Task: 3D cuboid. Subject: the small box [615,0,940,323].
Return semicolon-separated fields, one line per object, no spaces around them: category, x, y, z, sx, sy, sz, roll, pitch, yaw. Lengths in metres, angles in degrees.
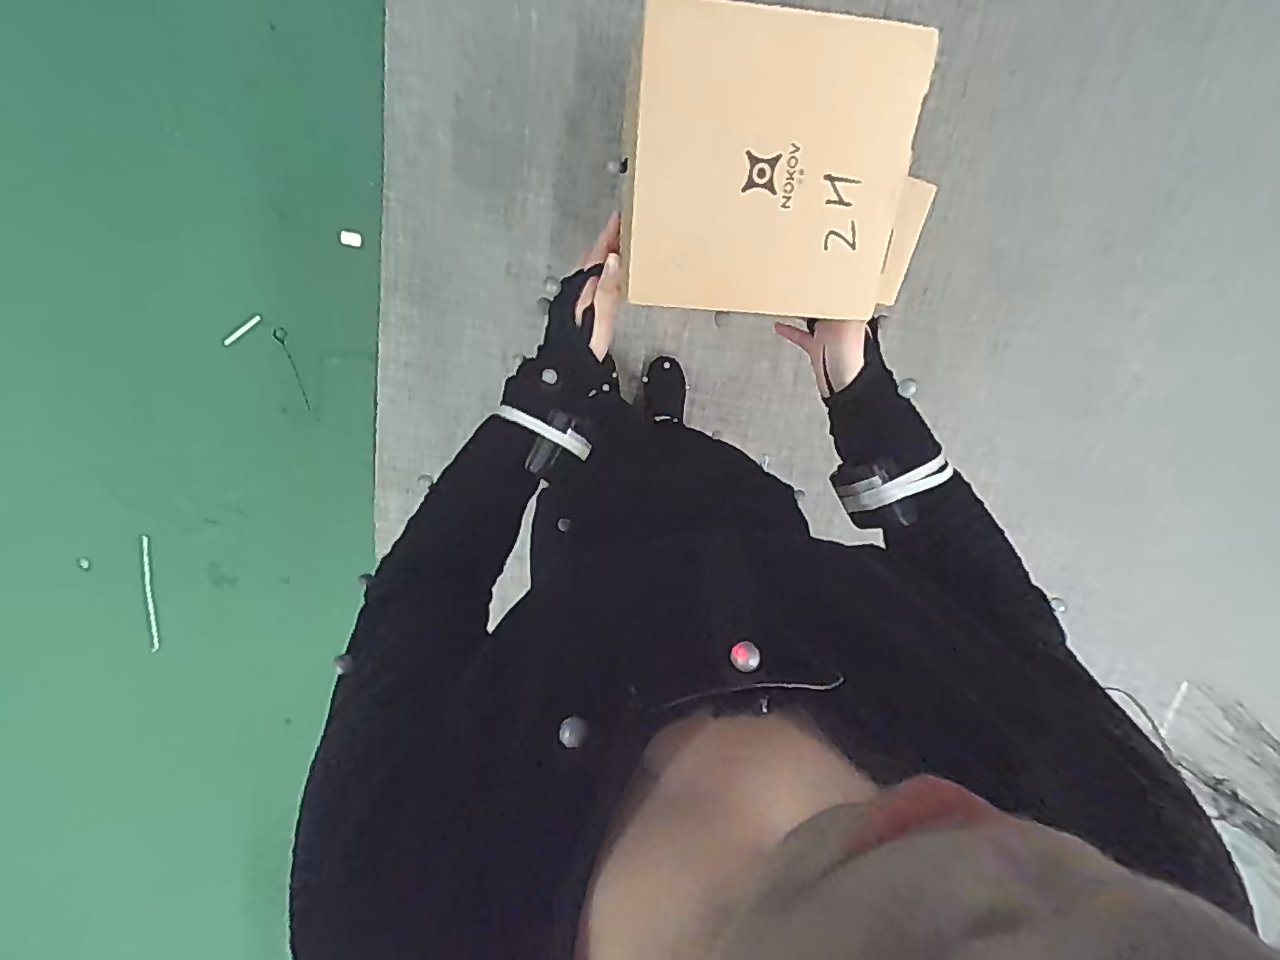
small box;0.074;-0.221;0.407;0.179;0.176;0.168;5;113;-6

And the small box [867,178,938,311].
small box;0.299;-0.362;0.821;0.179;0.176;0.168;14;104;-5
